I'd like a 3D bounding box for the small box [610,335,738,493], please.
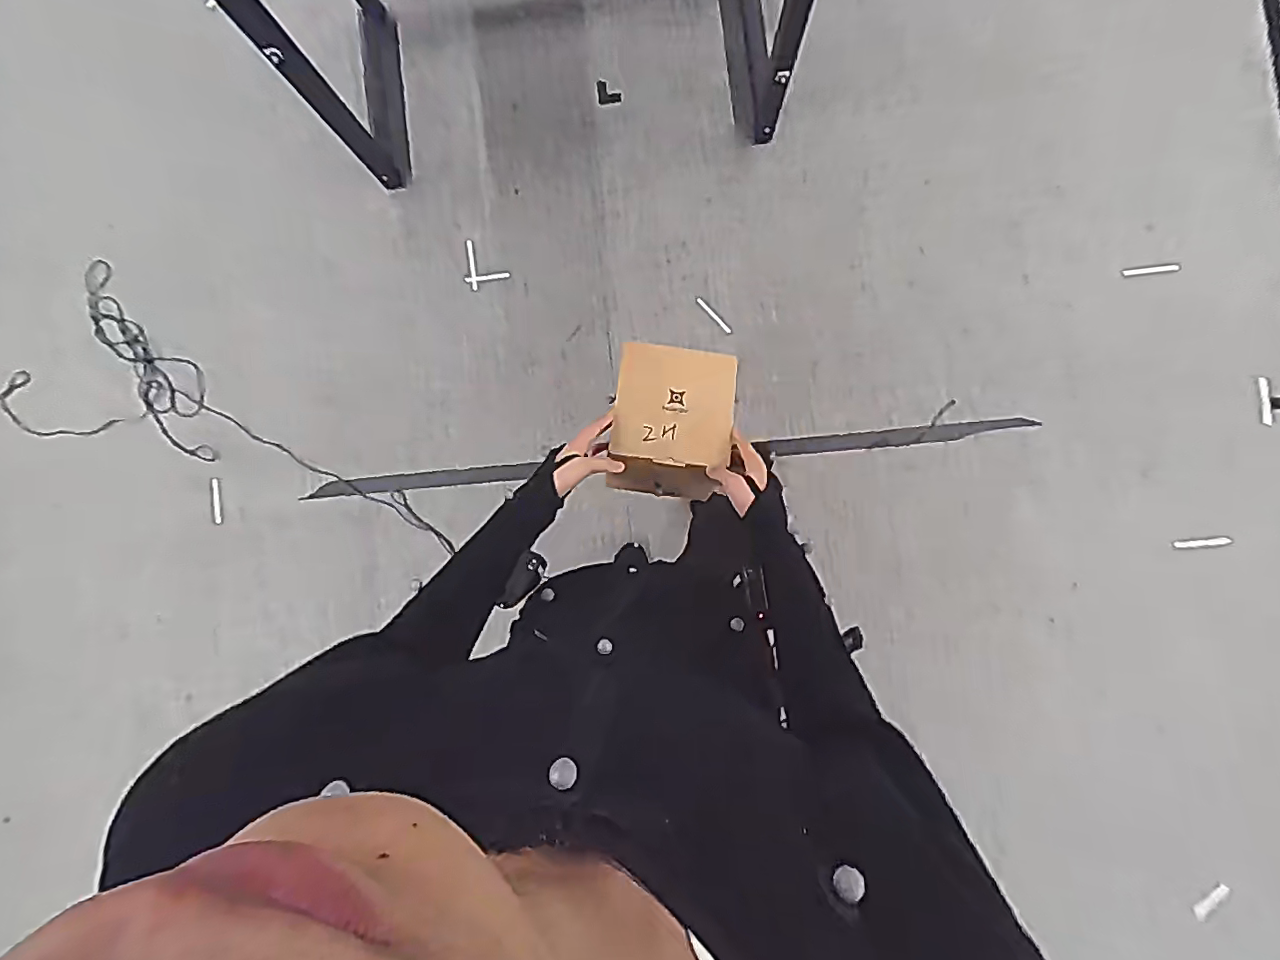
[{"bbox_3d":[0.045,-0.092,0.818,0.168,0.176,0.179,6,74,-2],"label":"small box"}]
